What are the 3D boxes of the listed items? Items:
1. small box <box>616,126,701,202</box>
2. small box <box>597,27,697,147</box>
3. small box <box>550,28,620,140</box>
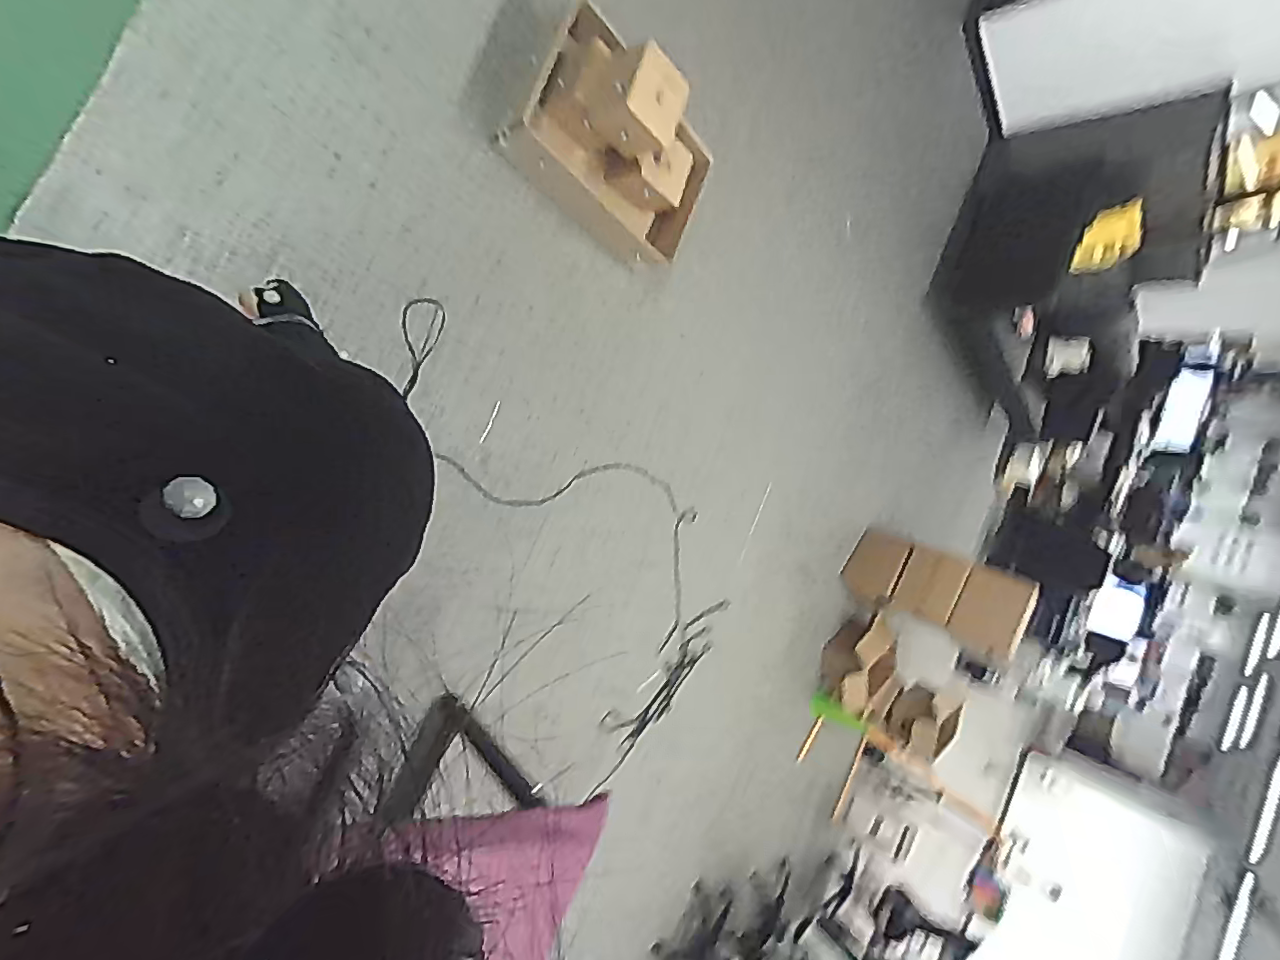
[{"bbox_3d":[0.053,-0.987,1.672,0.179,0.176,0.168,17,93,-43],"label":"small box"},{"bbox_3d":[0.012,-1.008,1.408,0.168,0.176,0.179,19,92,-45],"label":"small box"},{"bbox_3d":[-0.119,-1.078,1.493,0.179,0.176,0.168,21,90,-45],"label":"small box"}]
